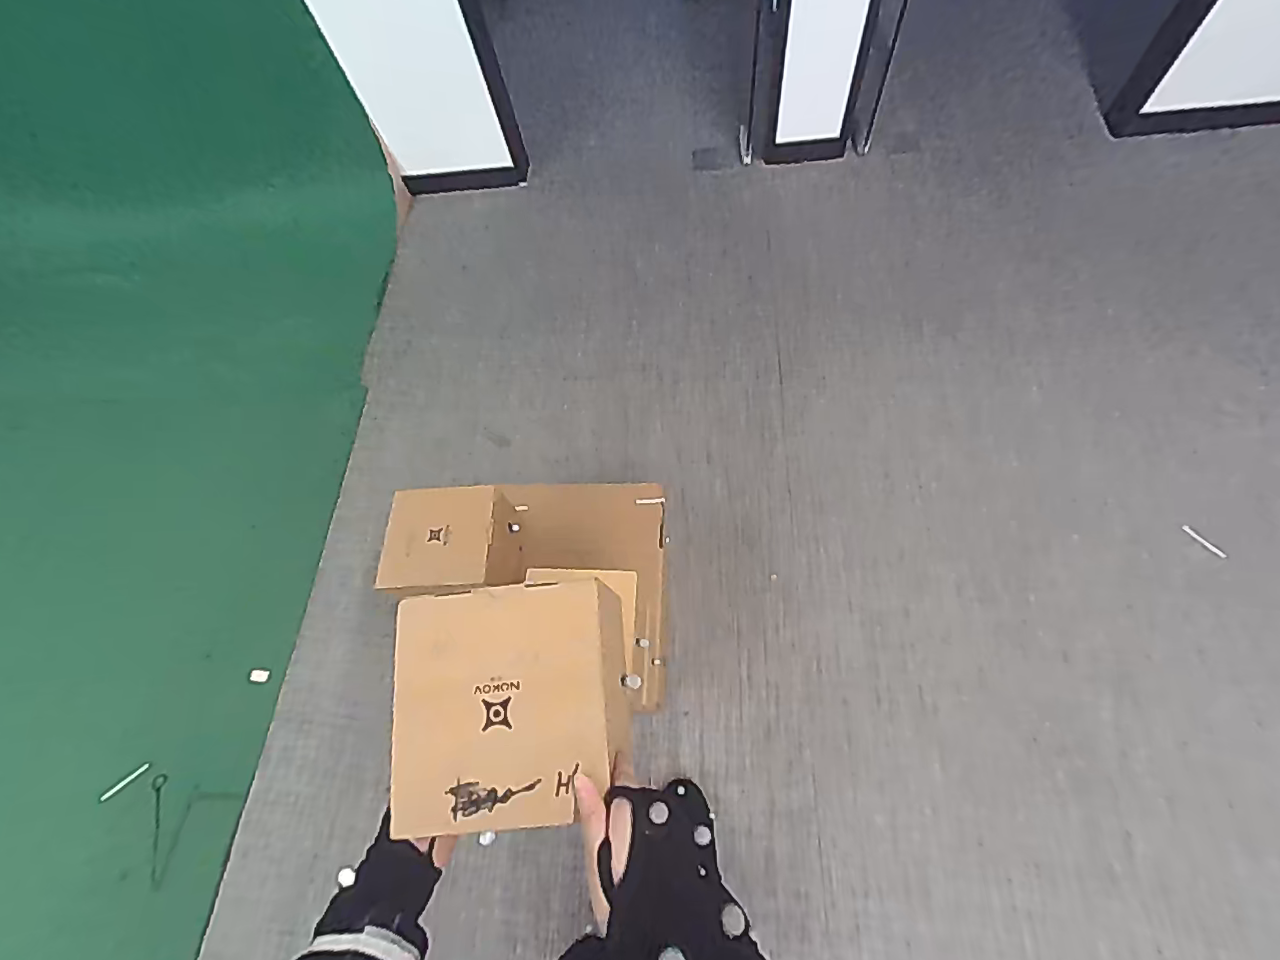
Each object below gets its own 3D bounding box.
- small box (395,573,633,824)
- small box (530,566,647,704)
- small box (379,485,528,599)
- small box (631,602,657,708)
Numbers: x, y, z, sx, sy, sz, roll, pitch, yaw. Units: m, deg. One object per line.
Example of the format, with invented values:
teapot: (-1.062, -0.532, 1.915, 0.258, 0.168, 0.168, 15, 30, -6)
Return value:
small box: (-0.100, 0.190, 0.498, 0.168, 0.176, 0.179, -6, 72, 4)
small box: (-0.080, 0.241, 0.826, 0.168, 0.176, 0.179, 1, 66, 6)
small box: (-0.300, 0.119, 0.915, 0.179, 0.176, 0.168, -3, 62, 7)
small box: (-0.062, 0.314, 0.971, 0.179, 0.176, 0.168, 1, 64, 7)
